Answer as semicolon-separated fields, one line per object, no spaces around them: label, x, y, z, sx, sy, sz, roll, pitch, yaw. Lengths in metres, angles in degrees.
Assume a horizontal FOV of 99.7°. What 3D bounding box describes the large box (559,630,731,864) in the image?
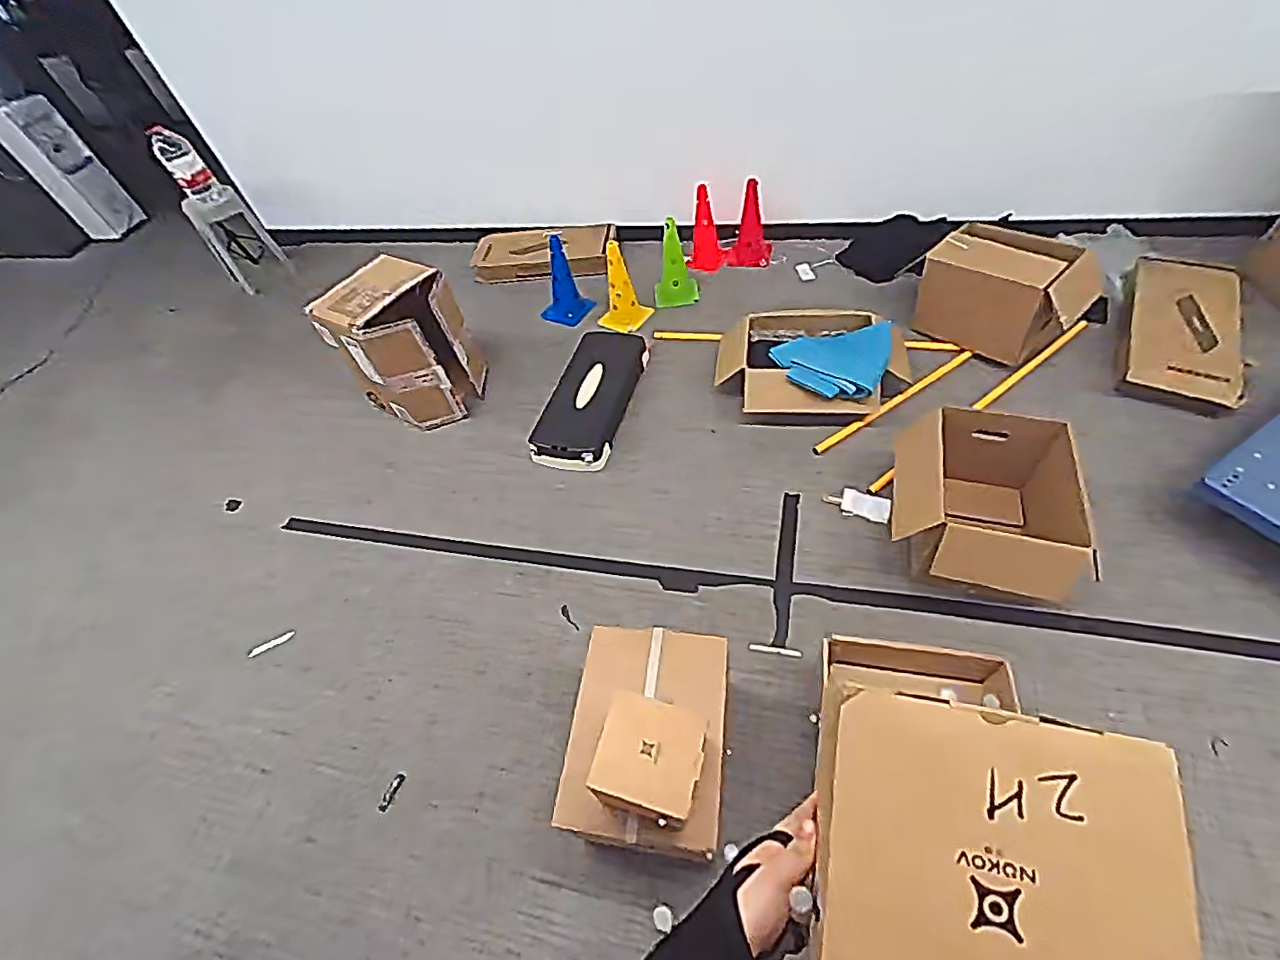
large box;0.040;0.595;1.218;0.320;0.320;0.408;2;53;11

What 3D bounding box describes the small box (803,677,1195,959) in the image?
small box;0.197;0.238;0.345;0.168;0.176;0.179;6;68;18
